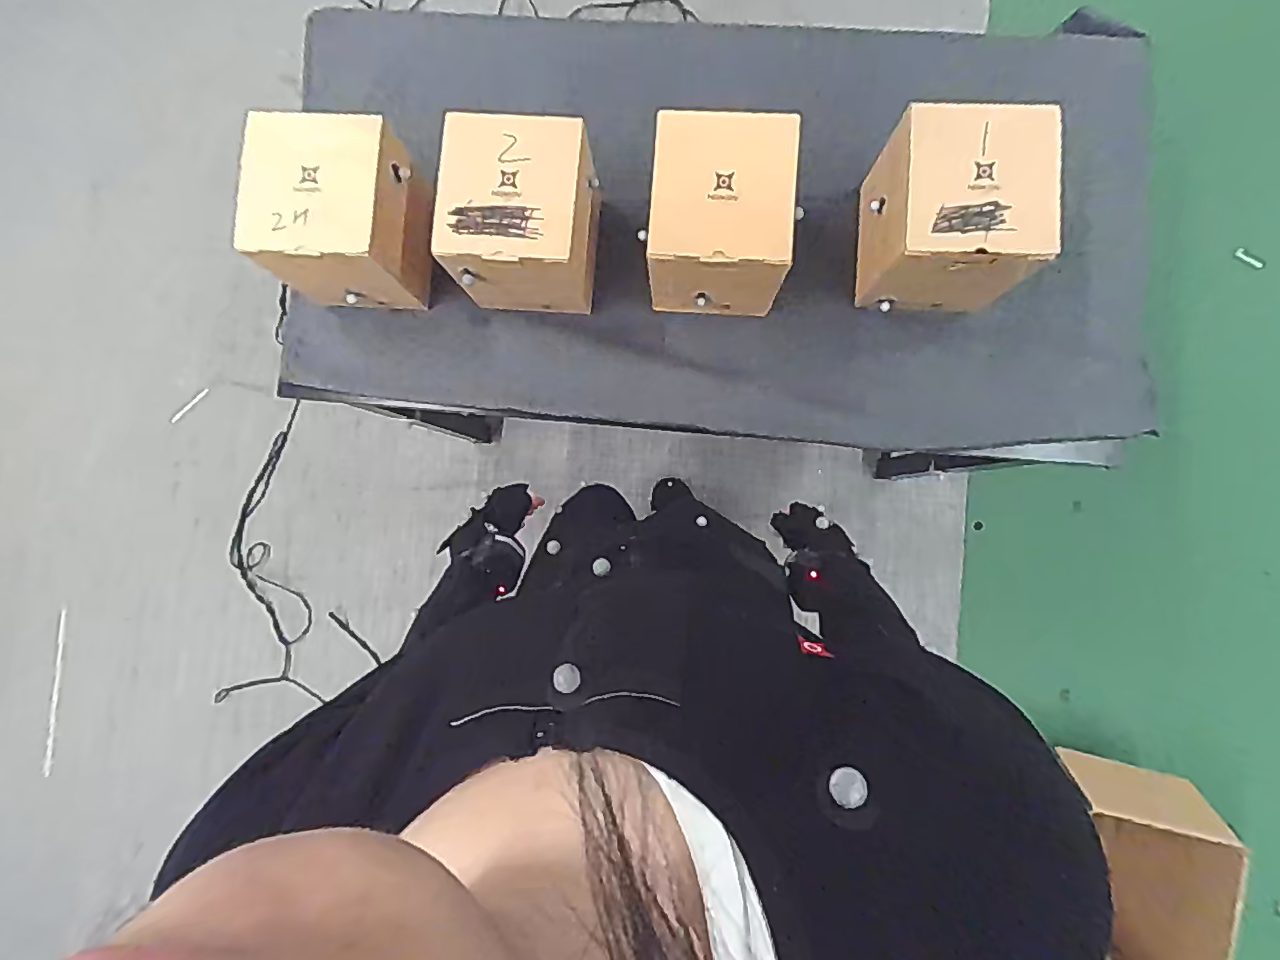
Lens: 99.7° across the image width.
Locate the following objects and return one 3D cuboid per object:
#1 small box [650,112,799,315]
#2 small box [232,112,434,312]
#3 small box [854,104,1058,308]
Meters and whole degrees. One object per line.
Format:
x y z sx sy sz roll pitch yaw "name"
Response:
0.099 -0.332 0.698 0.168 0.176 0.179 3 88 3 "small box"
-0.388 -0.343 0.715 0.168 0.176 0.179 3 86 2 "small box"
0.382 -0.330 0.682 0.168 0.176 0.179 3 87 3 "small box"
